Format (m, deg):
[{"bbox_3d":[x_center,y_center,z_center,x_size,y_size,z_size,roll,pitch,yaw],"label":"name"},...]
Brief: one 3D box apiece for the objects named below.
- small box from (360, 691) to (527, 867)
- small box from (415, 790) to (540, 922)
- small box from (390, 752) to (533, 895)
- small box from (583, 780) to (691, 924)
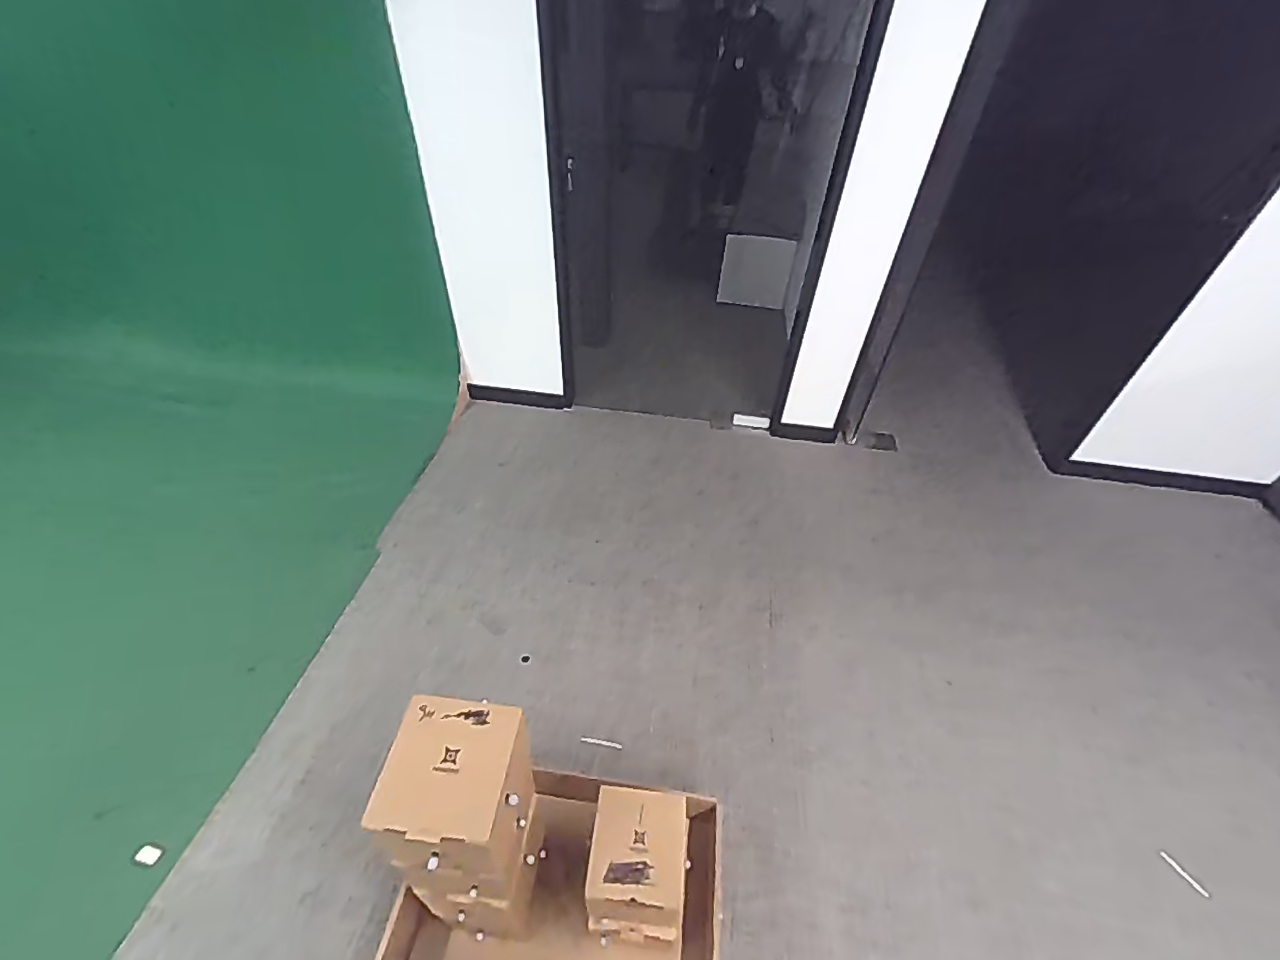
[{"bbox_3d":[-0.266,0.438,0.786,0.168,0.176,0.179,8,44,1],"label":"small box"},{"bbox_3d":[-0.288,0.683,1.002,0.168,0.176,0.179,8,43,3],"label":"small box"},{"bbox_3d":[-0.279,0.559,0.895,0.168,0.176,0.179,8,43,2],"label":"small box"},{"bbox_3d":[-0.003,0.692,1.002,0.168,0.176,0.179,9,44,5],"label":"small box"}]
